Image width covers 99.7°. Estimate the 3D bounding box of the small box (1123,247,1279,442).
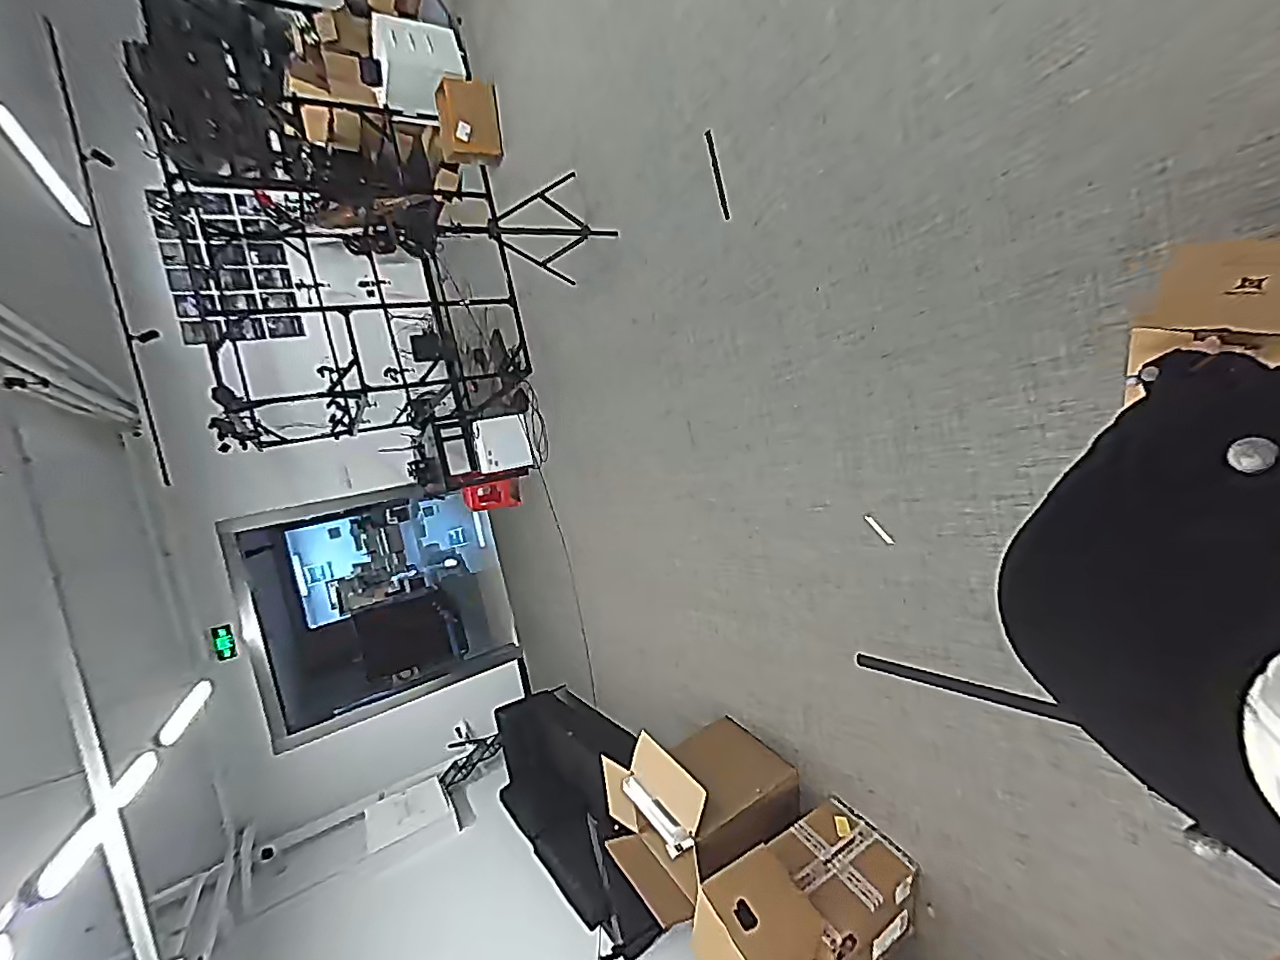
[{"bbox_3d":[0.761,-0.174,0.697,0.168,0.179,0.176,25,156,48],"label":"small box"}]
